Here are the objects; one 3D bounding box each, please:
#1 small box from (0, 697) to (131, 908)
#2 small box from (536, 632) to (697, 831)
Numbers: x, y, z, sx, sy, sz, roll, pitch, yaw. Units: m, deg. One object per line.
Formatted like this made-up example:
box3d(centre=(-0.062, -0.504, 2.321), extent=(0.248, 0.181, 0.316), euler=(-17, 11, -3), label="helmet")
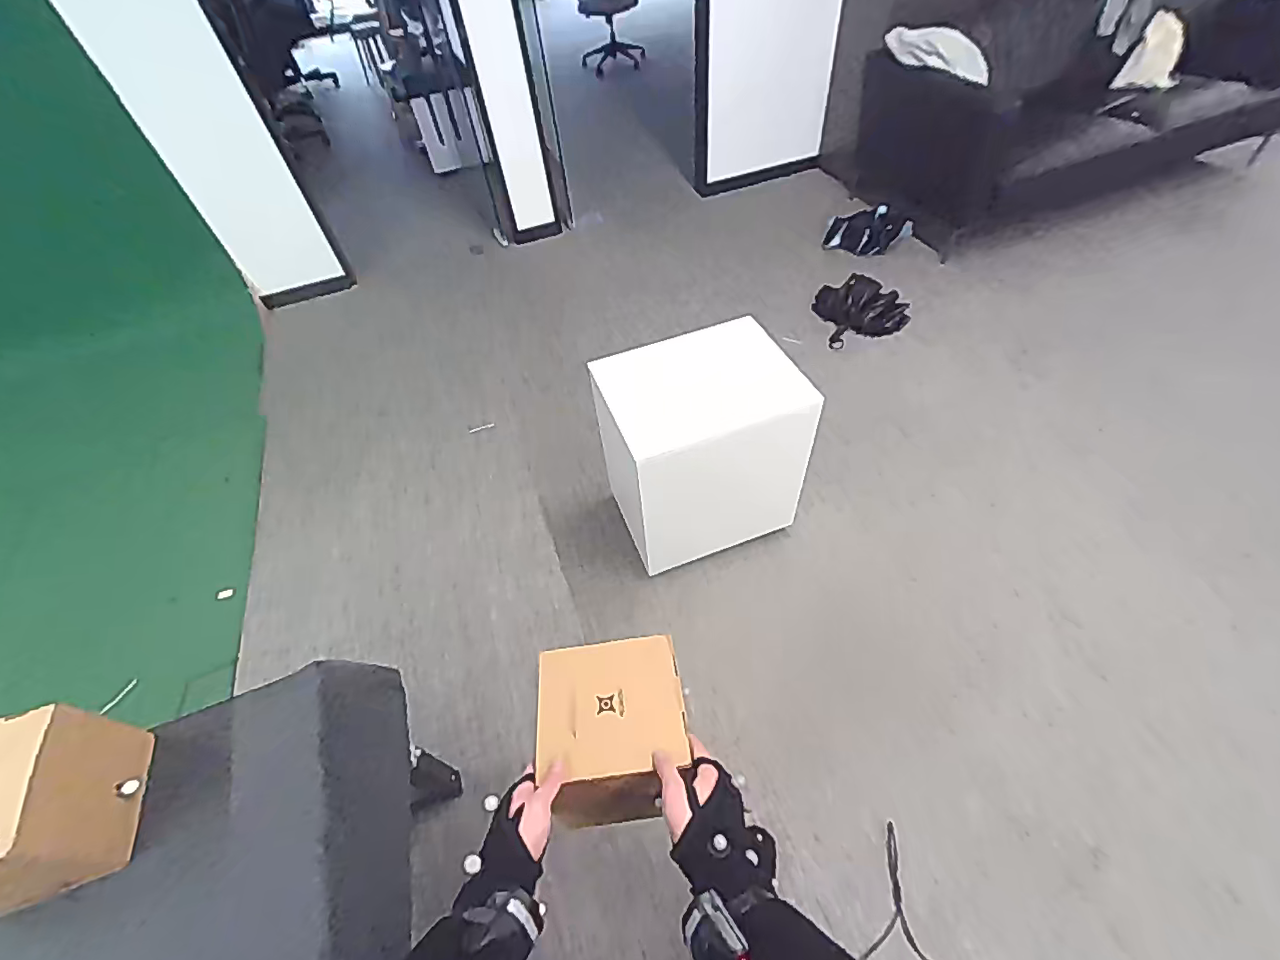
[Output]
box3d(centre=(-0.783, 0.401, 0.658), extent=(0.168, 0.176, 0.179), euler=(-17, 51, -11), label="small box")
box3d(centre=(-0.028, 0.319, 0.687), extent=(0.179, 0.176, 0.168), euler=(-8, 41, -2), label="small box")
